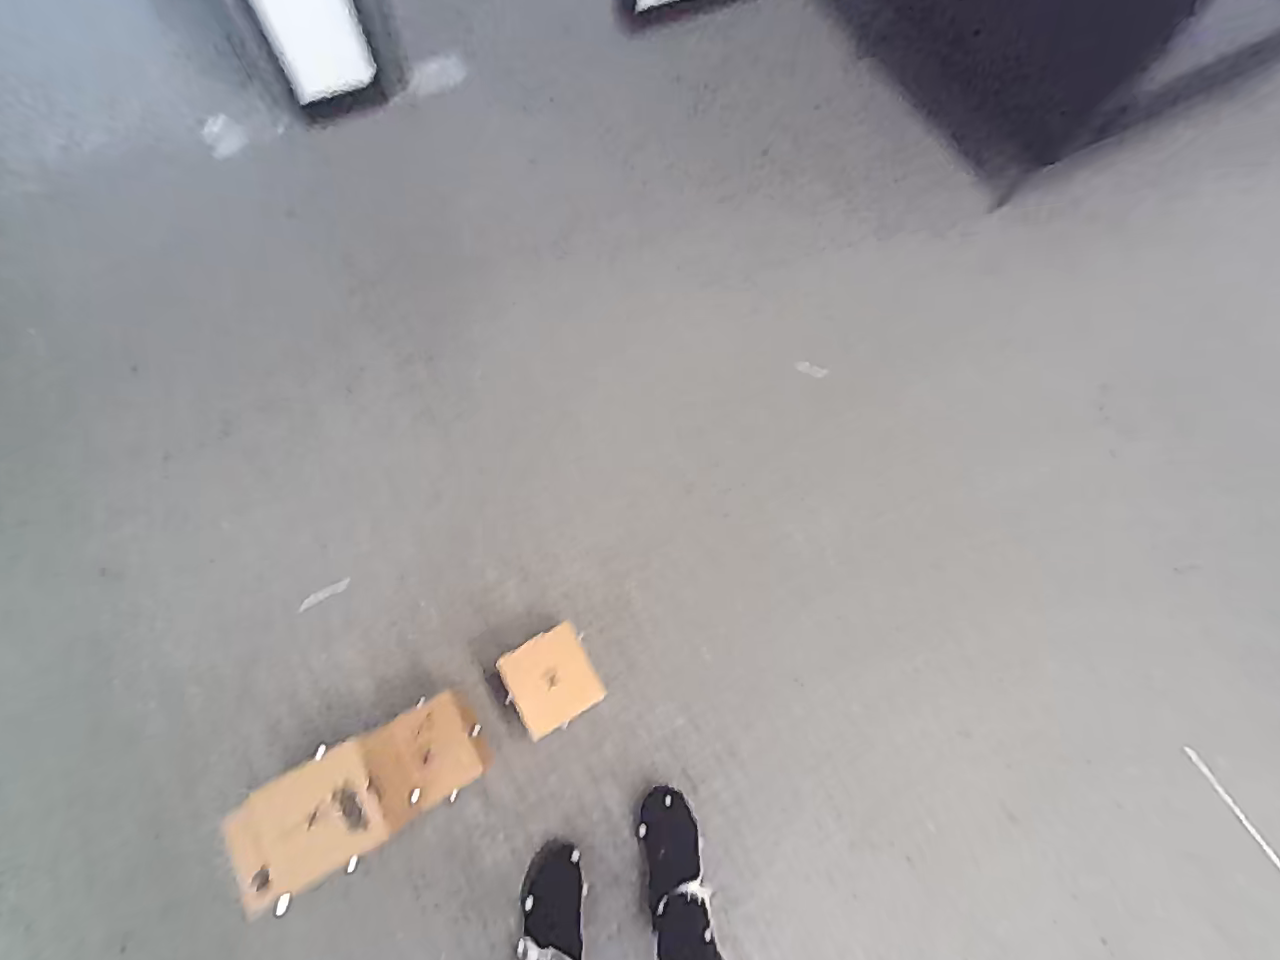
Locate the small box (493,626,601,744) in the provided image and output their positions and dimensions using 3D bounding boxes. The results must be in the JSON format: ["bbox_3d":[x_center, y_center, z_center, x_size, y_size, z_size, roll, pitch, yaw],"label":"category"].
[{"bbox_3d":[-0.196,0.439,1.176,0.168,0.176,0.179,-27,75,-15],"label":"small box"}]

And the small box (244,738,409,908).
[{"bbox_3d":[-0.515,0.562,0.919,0.179,0.176,0.168,-25,74,-14],"label":"small box"}]
